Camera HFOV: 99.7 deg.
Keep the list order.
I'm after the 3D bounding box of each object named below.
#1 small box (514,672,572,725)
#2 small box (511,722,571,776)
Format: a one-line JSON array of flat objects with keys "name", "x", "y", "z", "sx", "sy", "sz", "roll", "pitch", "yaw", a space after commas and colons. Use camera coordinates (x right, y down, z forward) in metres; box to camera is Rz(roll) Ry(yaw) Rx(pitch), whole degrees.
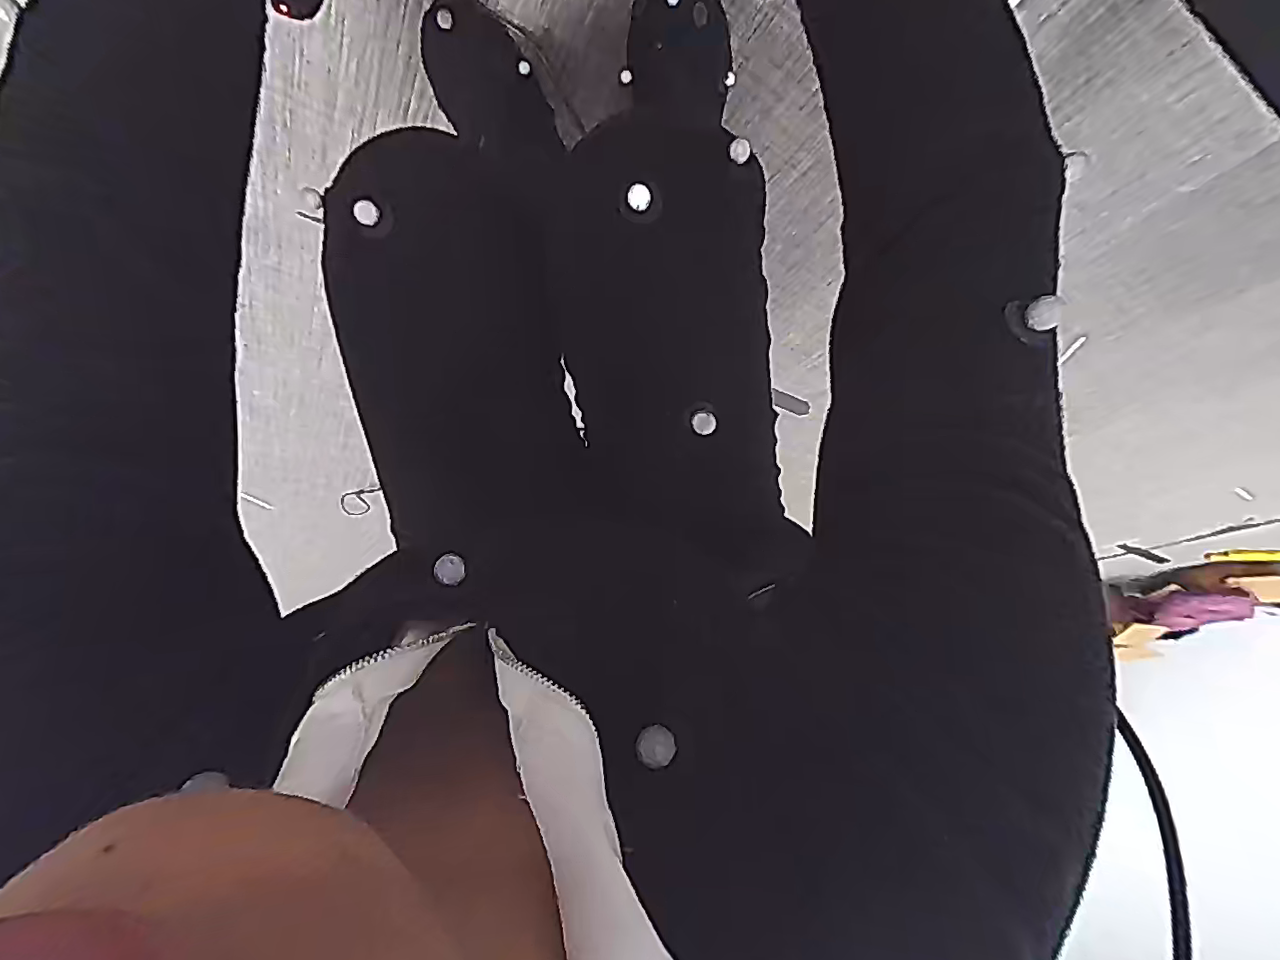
[{"name": "small box", "x": -0.361, "y": 0.819, "z": 2.018, "sx": 0.179, "sy": 0.176, "sz": 0.168, "roll": 11, "pitch": 149, "yaw": -22}, {"name": "small box", "x": -0.352, "y": 0.962, "z": 1.935, "sx": 0.179, "sy": 0.176, "sz": 0.168, "roll": 11, "pitch": 148, "yaw": -22}]
